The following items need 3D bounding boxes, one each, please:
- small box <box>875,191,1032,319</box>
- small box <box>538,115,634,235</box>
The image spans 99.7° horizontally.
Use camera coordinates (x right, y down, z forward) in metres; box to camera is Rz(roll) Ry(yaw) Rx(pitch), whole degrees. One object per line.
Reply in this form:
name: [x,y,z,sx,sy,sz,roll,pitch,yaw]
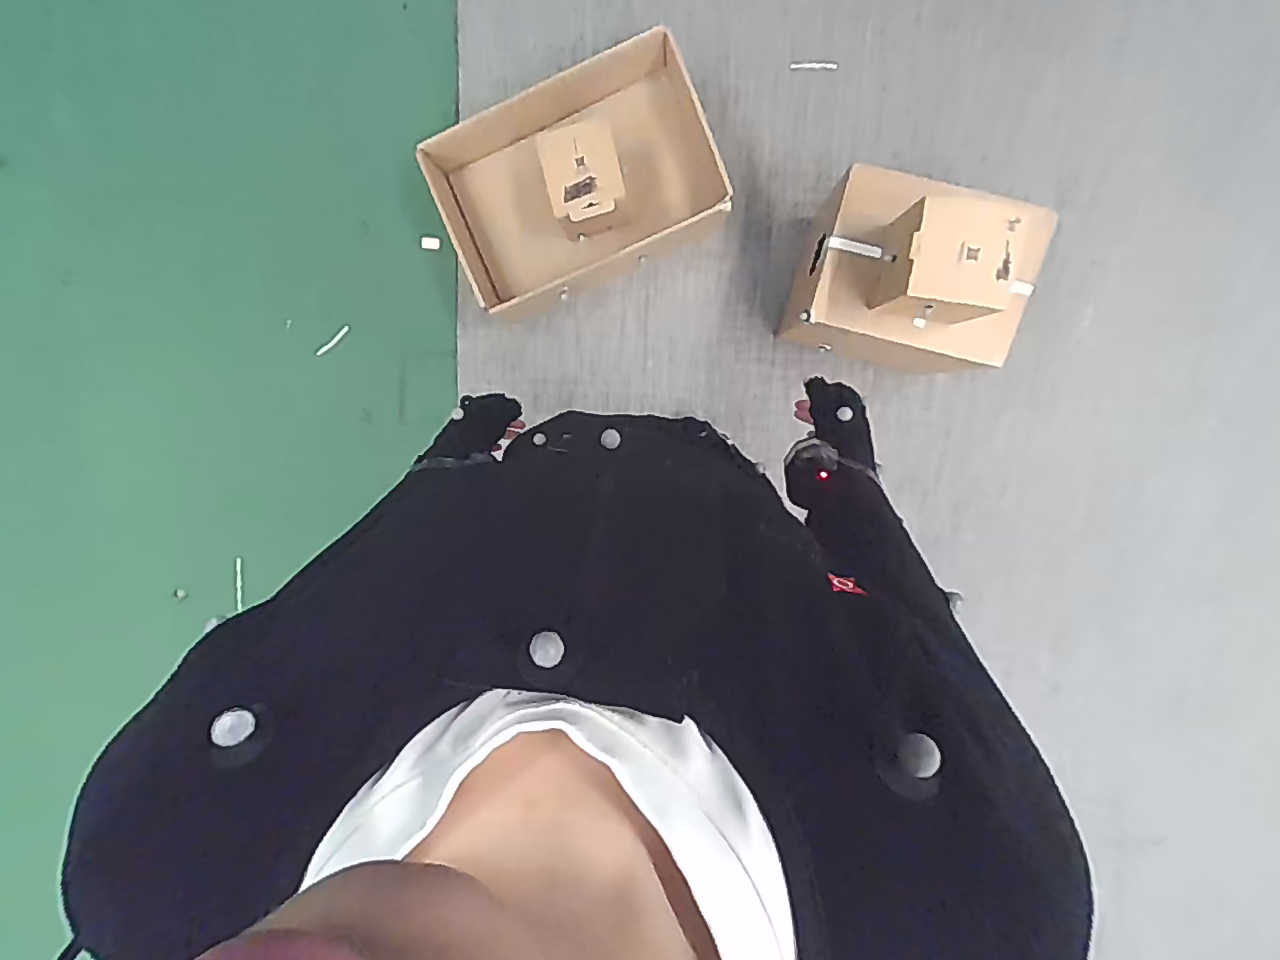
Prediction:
small box: [0.549,-0.395,0.977,0.179,0.176,0.168,9,99,3]
small box: [-0.115,-0.686,1.246,0.168,0.176,0.179,-14,95,6]
